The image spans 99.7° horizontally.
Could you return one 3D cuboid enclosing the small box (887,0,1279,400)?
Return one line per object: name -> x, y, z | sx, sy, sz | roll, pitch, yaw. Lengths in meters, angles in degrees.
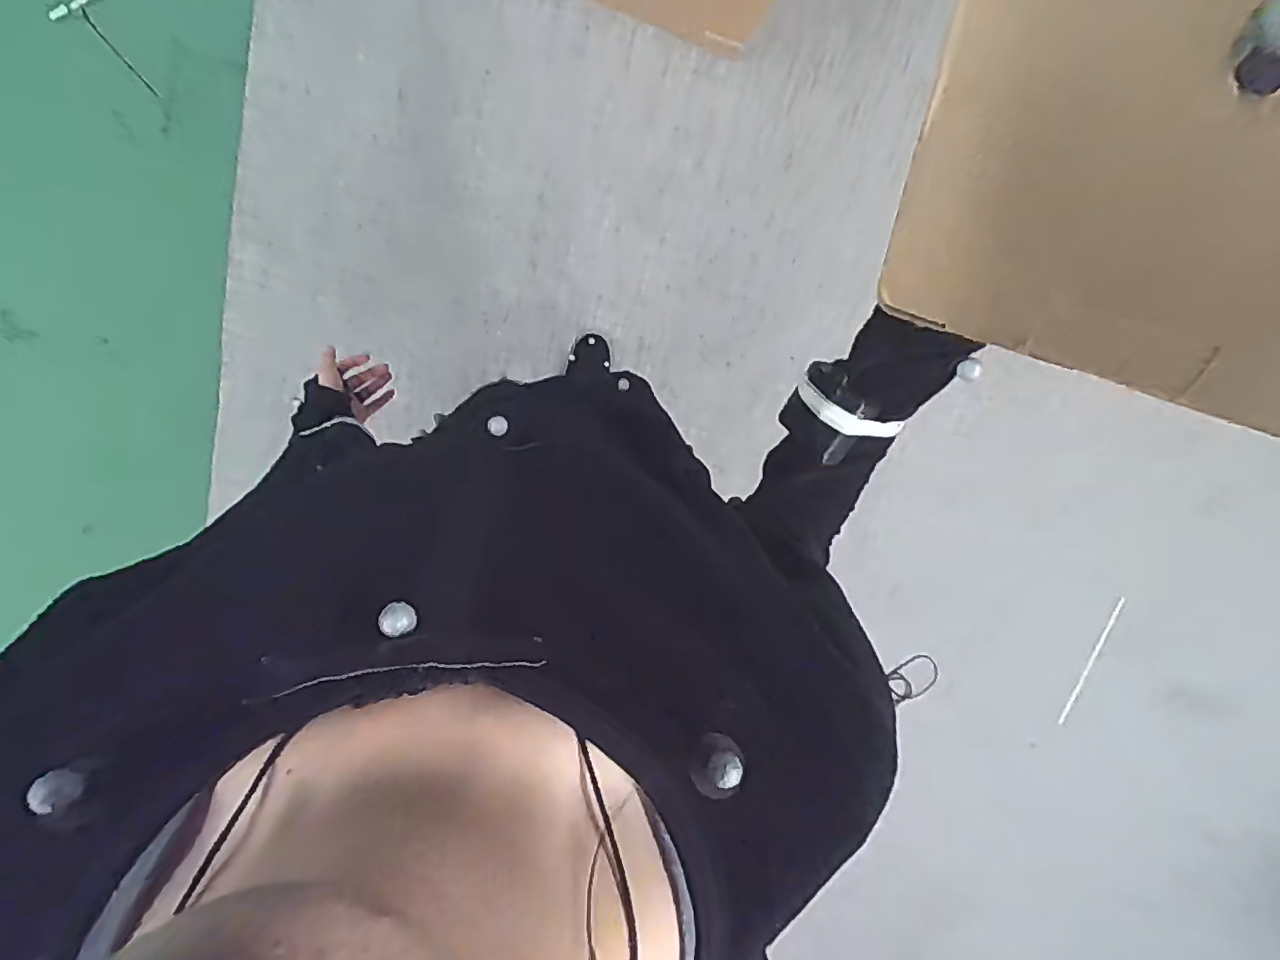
small box -> 0.212, -0.138, 0.157 | 0.179, 0.168, 0.176 | -27, 137, -27
